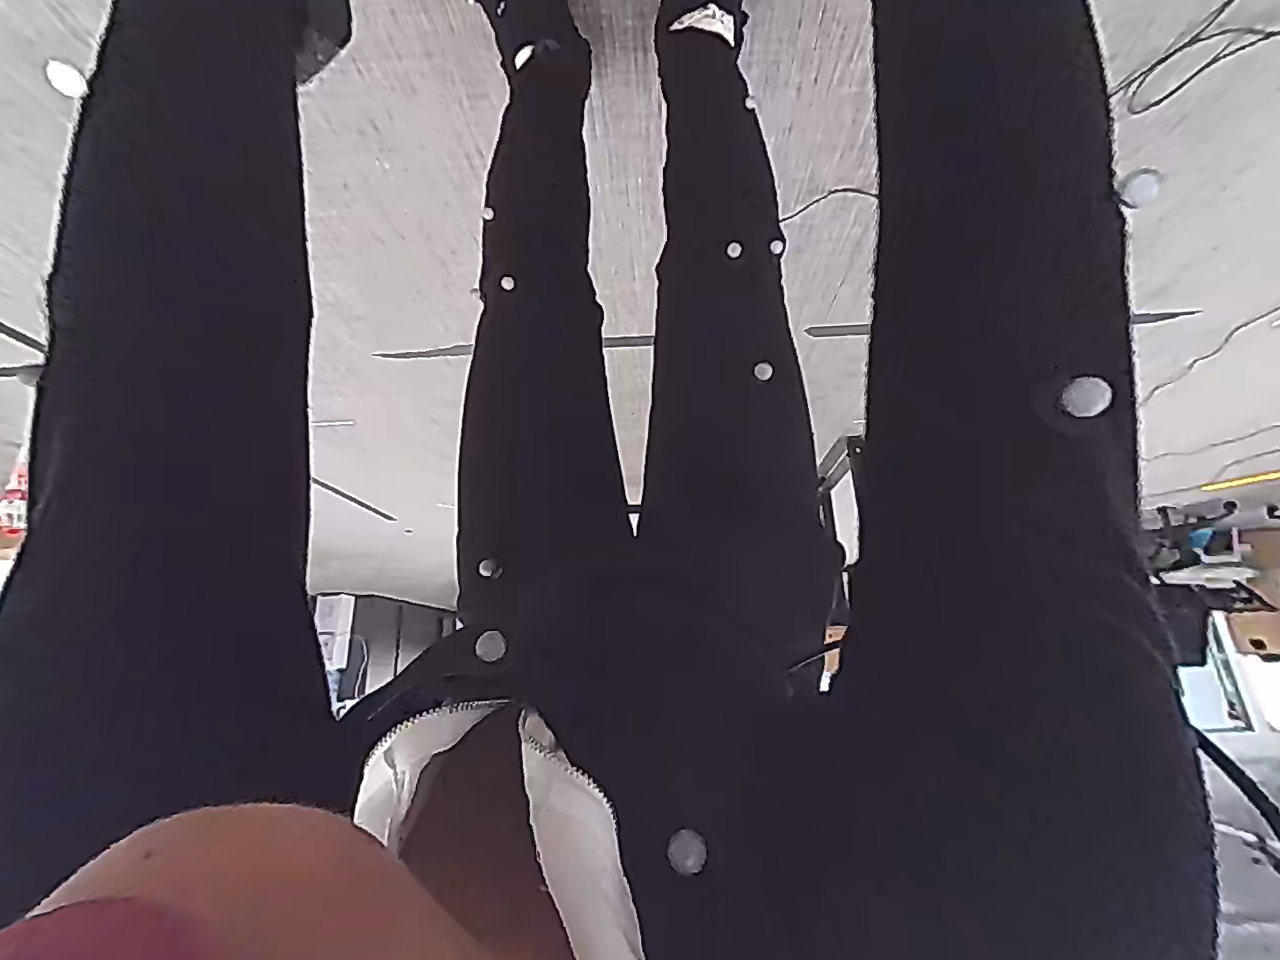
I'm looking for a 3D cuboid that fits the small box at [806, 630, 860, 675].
[{"bbox_3d":[0.780,0.701,2.202,0.168,0.176,0.179,-3,162,7],"label":"small box"}]
